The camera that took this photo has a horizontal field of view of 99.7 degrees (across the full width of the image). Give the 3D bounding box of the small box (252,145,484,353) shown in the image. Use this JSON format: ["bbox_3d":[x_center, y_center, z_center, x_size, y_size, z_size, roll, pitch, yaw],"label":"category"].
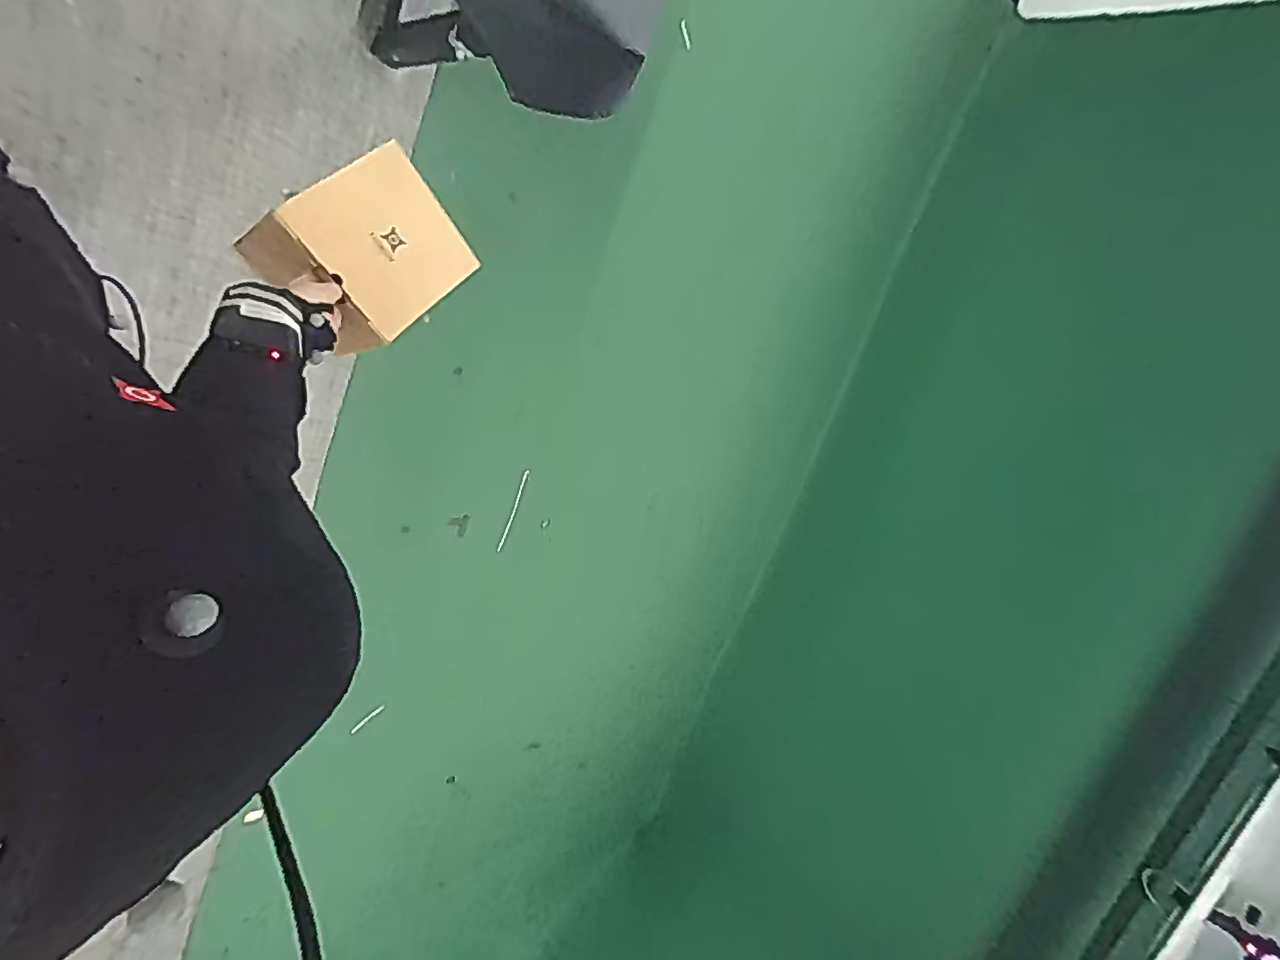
[{"bbox_3d":[-0.344,-0.281,0.686,0.179,0.176,0.168,-54,129,-27],"label":"small box"}]
